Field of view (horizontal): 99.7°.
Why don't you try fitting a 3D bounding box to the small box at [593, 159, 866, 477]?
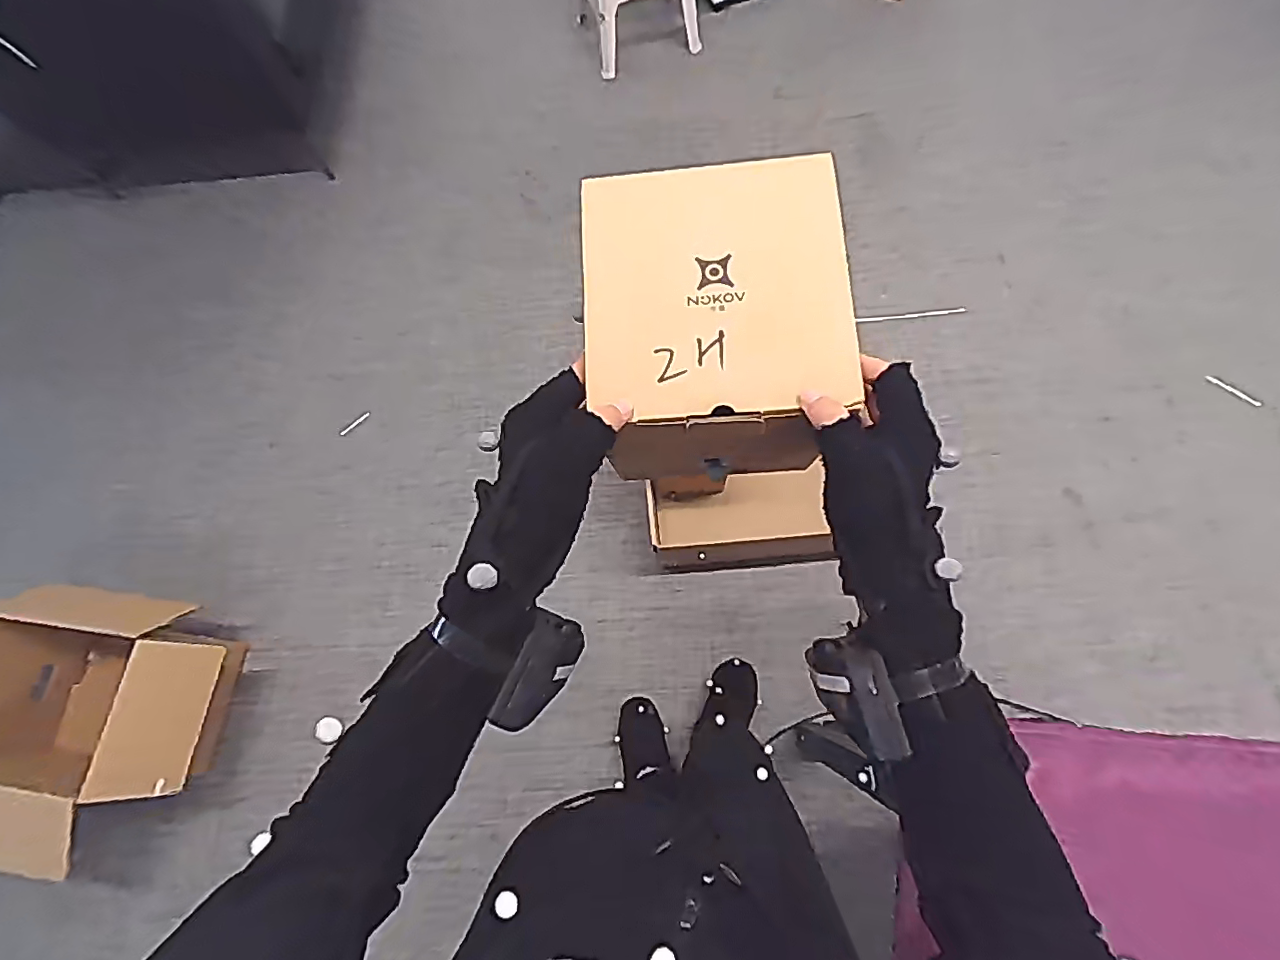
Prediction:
[{"bbox_3d":[0.057,-0.107,0.420,0.168,0.176,0.179,-2,78,5],"label":"small box"}]
